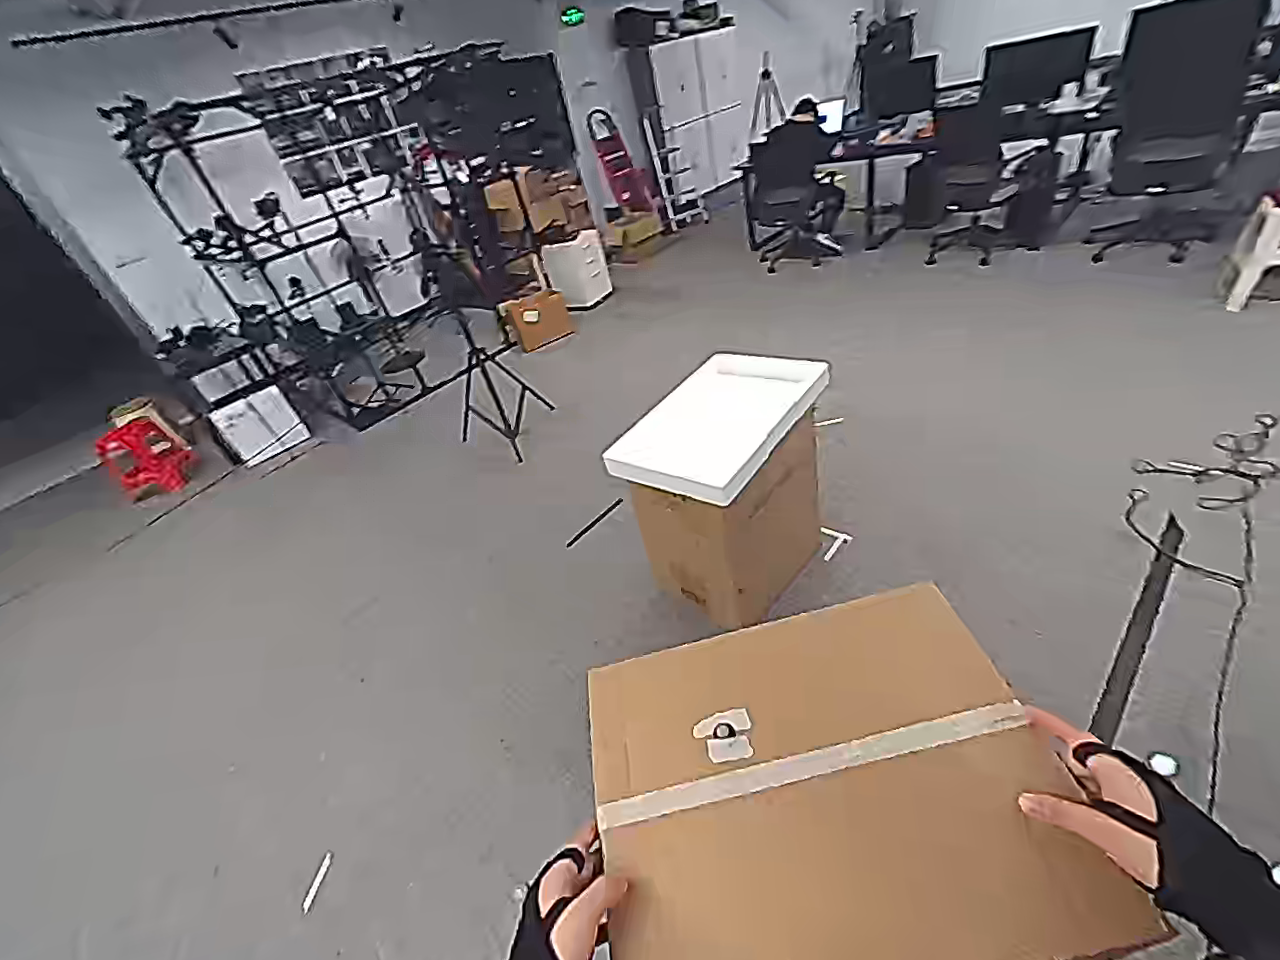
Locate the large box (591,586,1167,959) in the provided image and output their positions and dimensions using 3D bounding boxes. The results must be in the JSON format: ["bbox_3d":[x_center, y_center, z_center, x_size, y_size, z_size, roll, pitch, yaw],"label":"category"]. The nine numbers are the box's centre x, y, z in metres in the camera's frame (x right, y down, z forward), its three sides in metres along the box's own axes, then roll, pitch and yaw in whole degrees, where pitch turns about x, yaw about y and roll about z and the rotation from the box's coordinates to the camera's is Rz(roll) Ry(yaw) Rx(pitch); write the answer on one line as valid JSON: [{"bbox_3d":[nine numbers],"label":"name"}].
[{"bbox_3d":[0.194,0.375,0.589,0.408,0.320,0.320,-17,39,4],"label":"large box"}]
